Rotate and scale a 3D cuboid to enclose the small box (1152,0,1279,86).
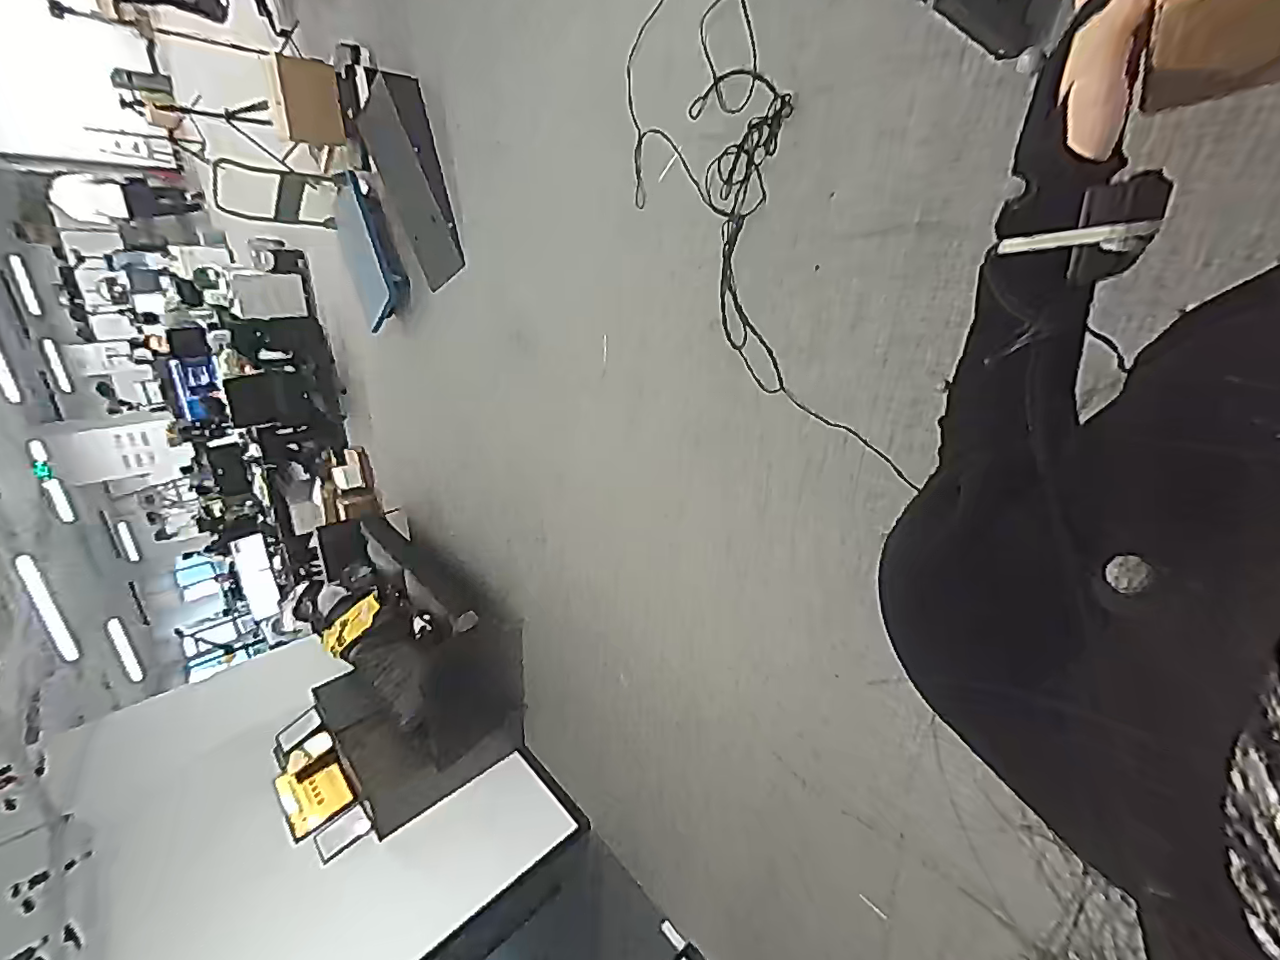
[{"bbox_3d":[0.337,-0.313,0.225,0.168,0.176,0.179,4,107,40],"label":"small box"}]
